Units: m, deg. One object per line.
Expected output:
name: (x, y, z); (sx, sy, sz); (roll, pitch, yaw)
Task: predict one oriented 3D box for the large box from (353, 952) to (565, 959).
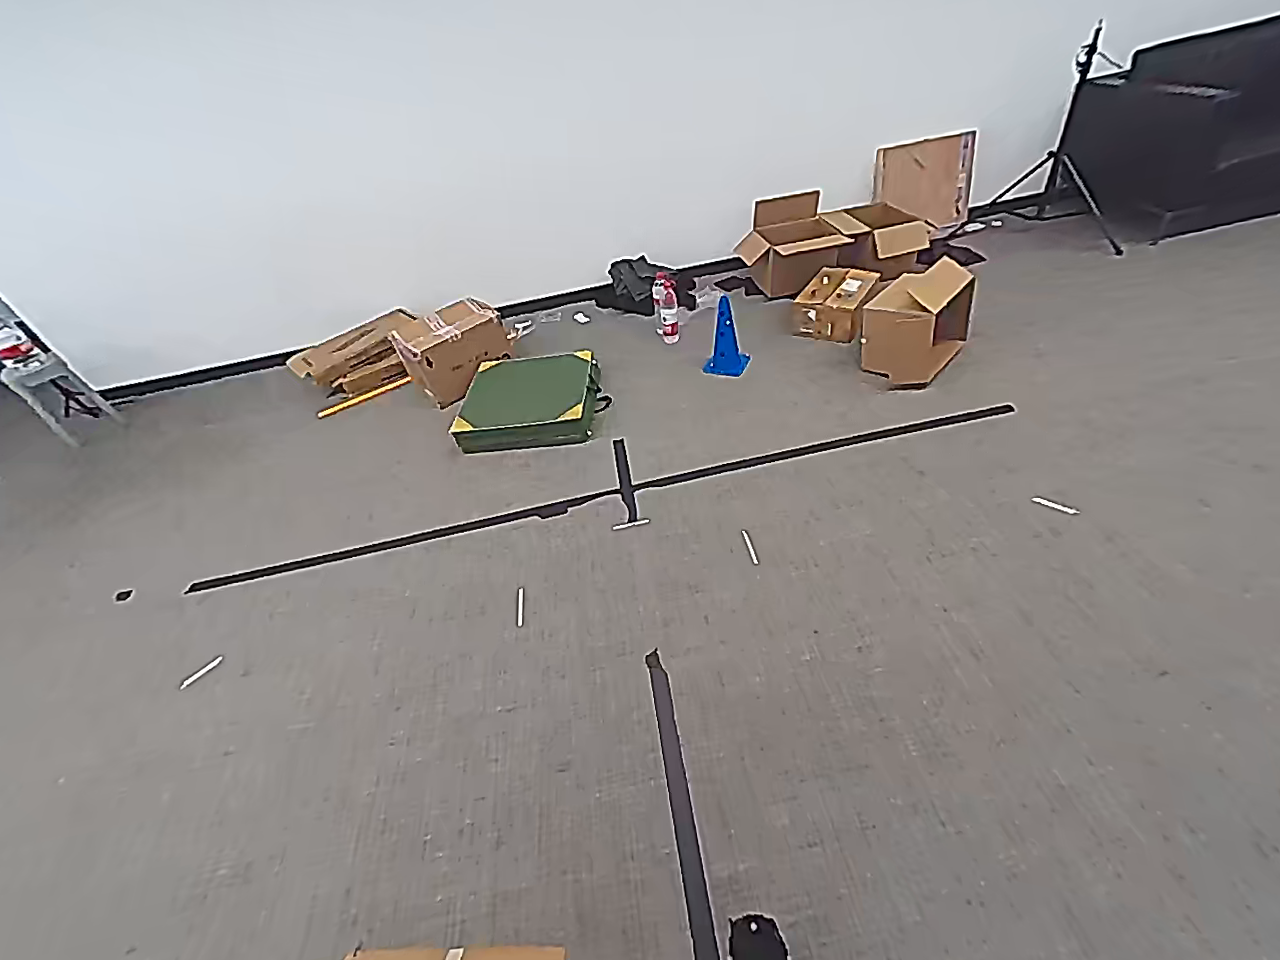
large box: (-0.252, 0.831, 0.576); (0.320, 0.320, 0.408); (1, 0, -1)
